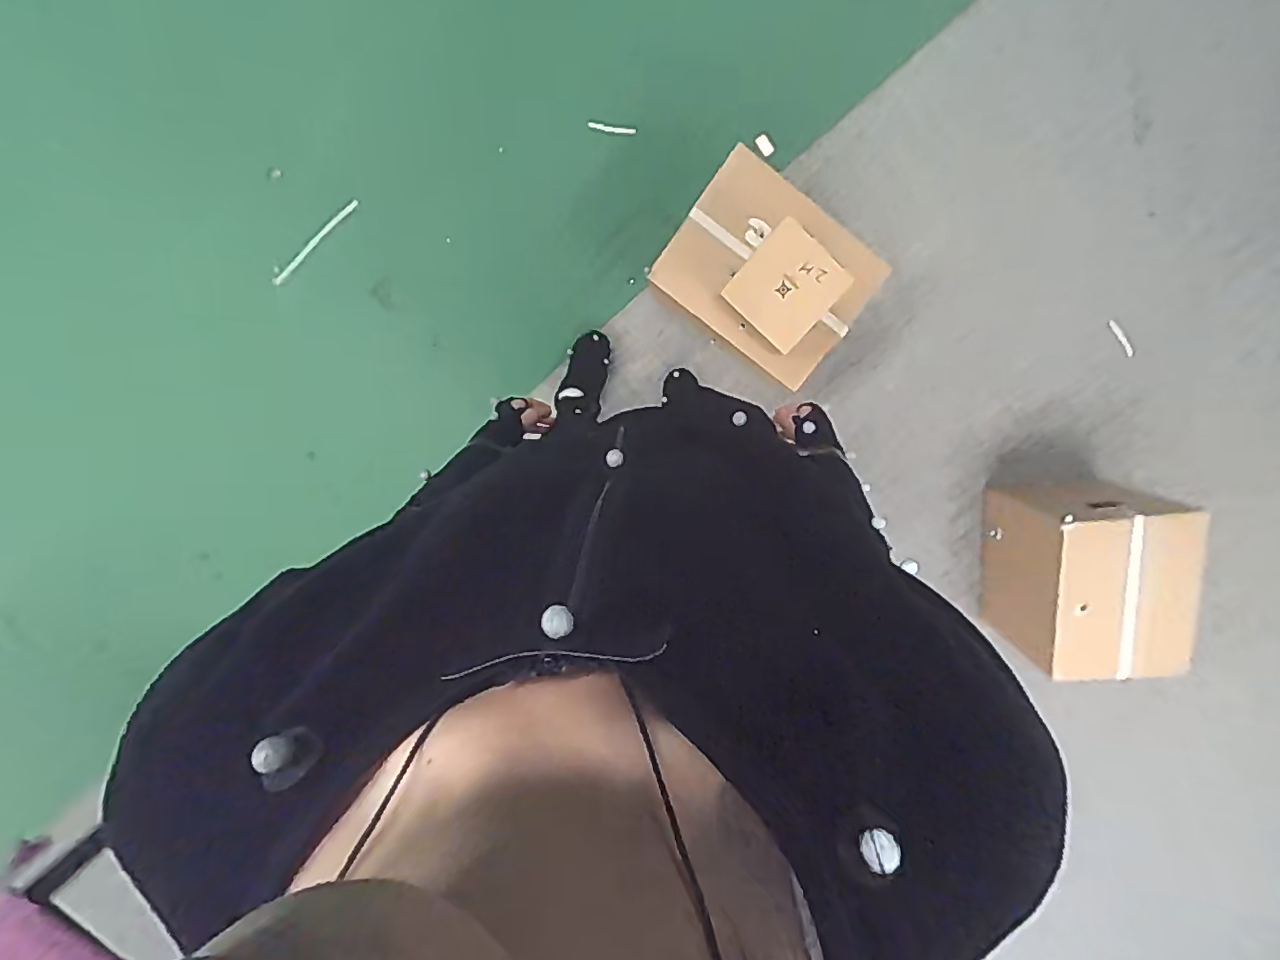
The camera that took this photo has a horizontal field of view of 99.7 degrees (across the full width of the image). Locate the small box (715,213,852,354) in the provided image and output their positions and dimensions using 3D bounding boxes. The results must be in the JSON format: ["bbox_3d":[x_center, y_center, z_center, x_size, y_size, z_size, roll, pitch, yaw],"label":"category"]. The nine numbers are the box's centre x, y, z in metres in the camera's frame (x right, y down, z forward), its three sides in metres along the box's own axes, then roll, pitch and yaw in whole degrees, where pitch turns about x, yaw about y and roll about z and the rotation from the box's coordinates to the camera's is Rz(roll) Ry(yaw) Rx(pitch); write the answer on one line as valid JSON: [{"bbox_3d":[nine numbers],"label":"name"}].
[{"bbox_3d":[0.255,-0.358,1.018,0.168,0.176,0.179,41,102,-9],"label":"small box"}]

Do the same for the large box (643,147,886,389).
[{"bbox_3d":[0.261,-0.454,1.249,0.408,0.320,0.320,36,101,-5],"label":"large box"}]
